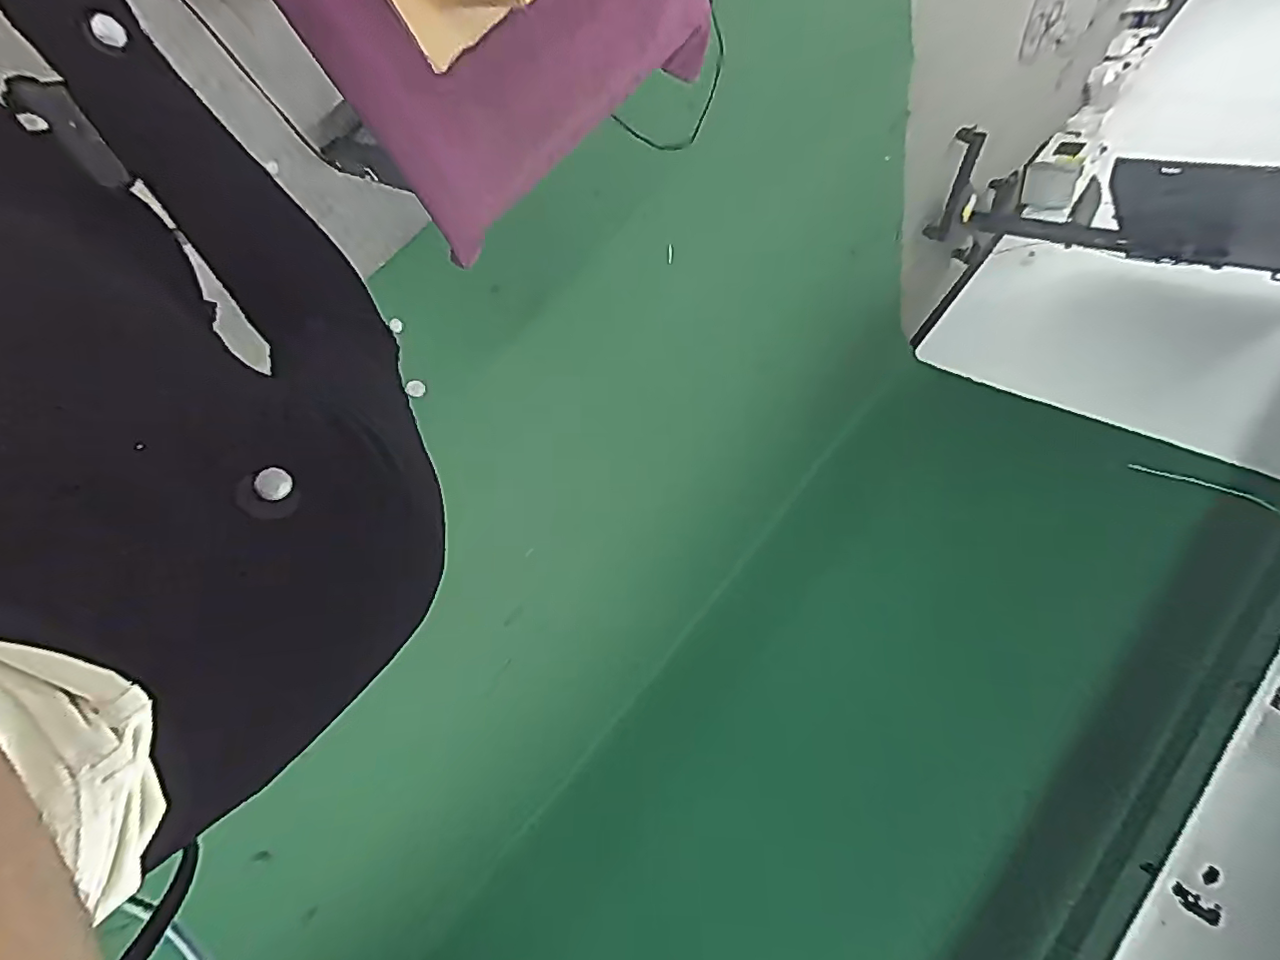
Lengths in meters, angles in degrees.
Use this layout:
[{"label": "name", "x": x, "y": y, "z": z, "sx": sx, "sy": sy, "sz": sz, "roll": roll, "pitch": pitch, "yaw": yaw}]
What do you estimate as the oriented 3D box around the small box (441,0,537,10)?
[{"label": "small box", "x": -0.135, "y": -0.576, "z": 0.489, "sx": 0.179, "sy": 0.176, "sz": 0.168, "roll": -50, "pitch": 146, "yaw": -7}]
